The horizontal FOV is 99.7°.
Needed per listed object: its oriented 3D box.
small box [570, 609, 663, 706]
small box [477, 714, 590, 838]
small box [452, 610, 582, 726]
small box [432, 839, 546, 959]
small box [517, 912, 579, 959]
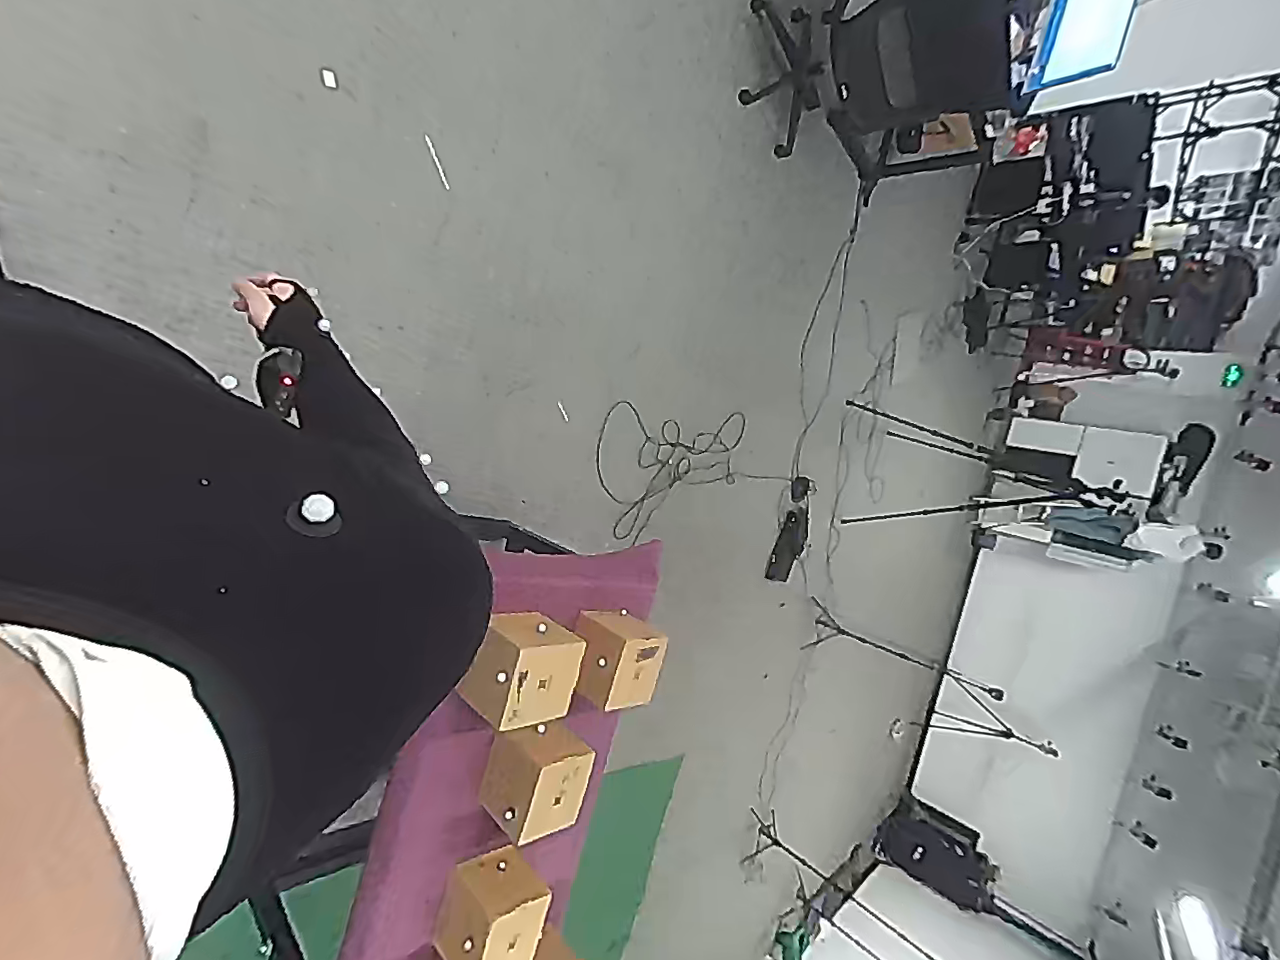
[{"bbox_3d":[-0.075,0.431,1.348,0.168,0.176,0.179,16,92,-49],"label":"small box"},{"bbox_3d":[-0.248,0.662,1.237,0.168,0.176,0.179,17,90,-50],"label":"small box"},{"bbox_3d":[-0.256,0.378,1.127,0.179,0.176,0.168,13,93,-51],"label":"small box"},{"bbox_3d":[-0.349,0.976,1.236,0.168,0.176,0.179,17,89,-49],"label":"small box"},{"bbox_3d":[-0.291,1.287,1.400,0.168,0.176,0.179,18,88,-48],"label":"small box"}]
